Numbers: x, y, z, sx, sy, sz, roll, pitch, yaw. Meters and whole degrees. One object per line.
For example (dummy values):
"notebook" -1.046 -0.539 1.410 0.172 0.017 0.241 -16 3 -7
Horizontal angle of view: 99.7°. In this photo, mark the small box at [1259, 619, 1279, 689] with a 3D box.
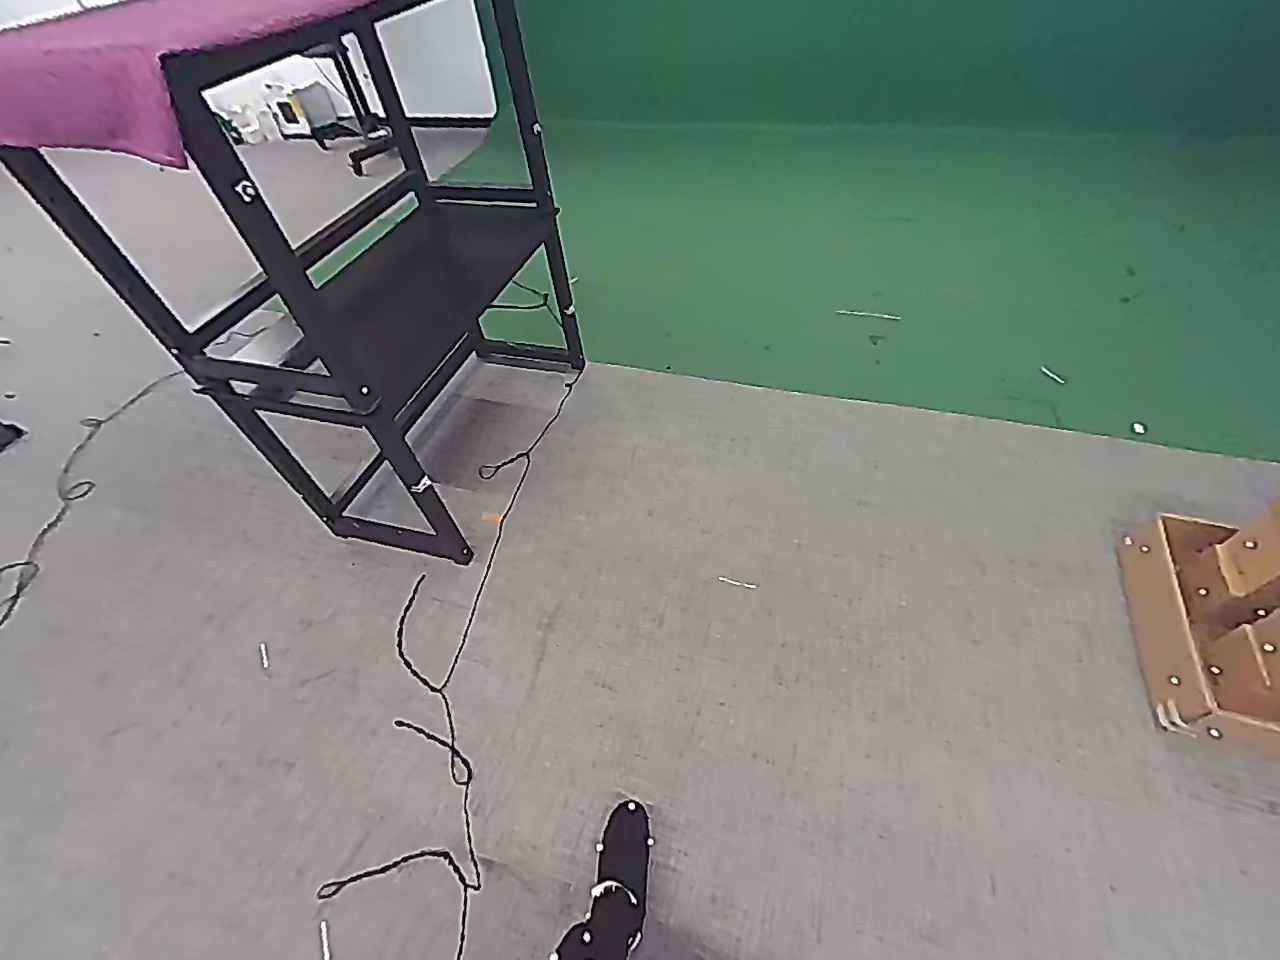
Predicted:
"small box" 1.564 0.405 1.207 0.168 0.176 0.179 14 52 19

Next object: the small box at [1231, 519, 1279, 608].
"small box" 1.659 0.224 1.360 0.179 0.176 0.168 10 53 15
